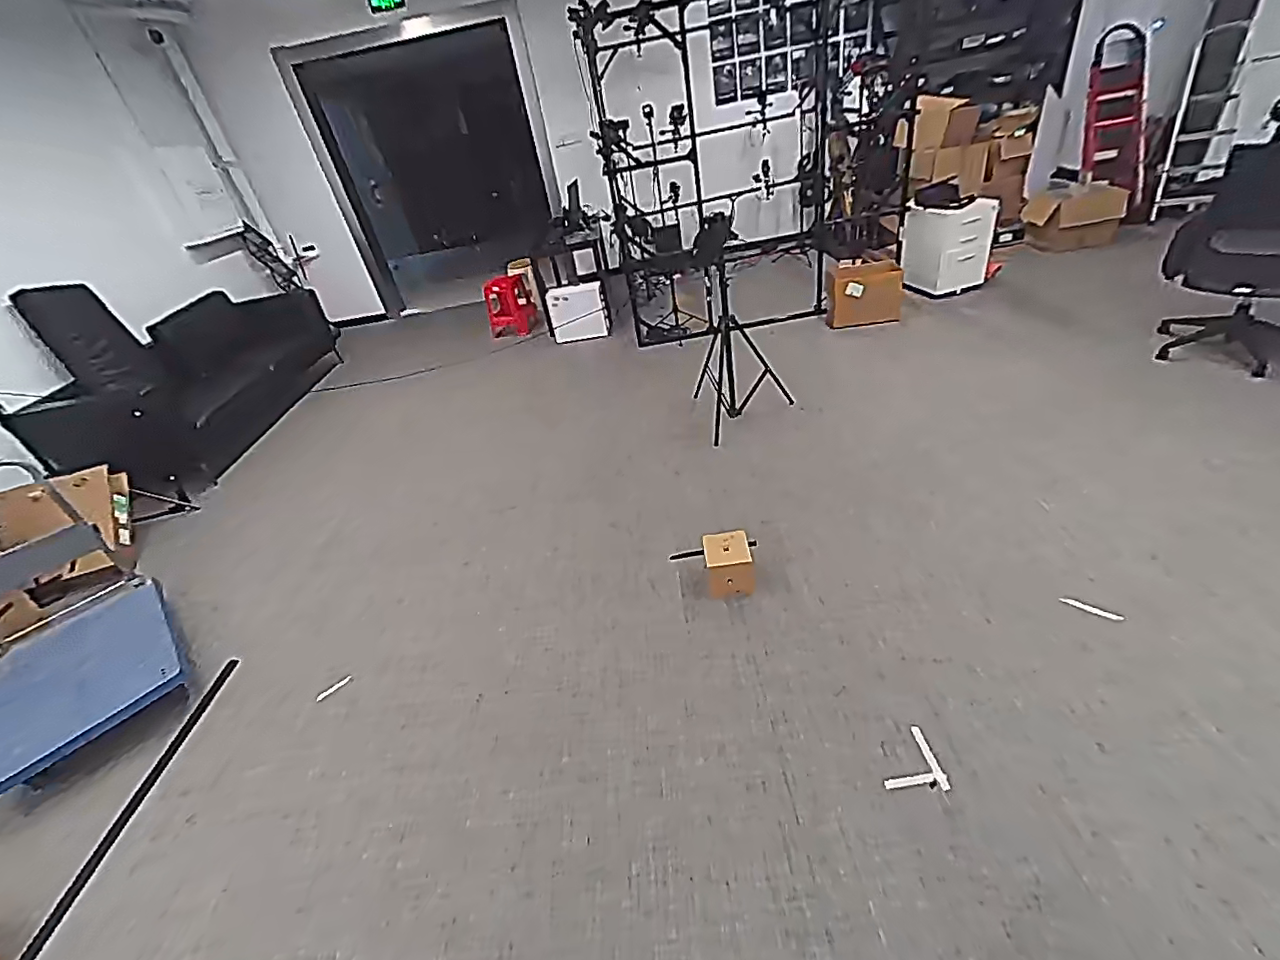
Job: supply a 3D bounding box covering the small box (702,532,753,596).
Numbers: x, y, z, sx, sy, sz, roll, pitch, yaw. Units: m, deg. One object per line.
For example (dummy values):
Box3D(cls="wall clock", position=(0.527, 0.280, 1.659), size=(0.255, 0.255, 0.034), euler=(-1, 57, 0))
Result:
Box3D(cls="small box", position=(0.333, 0.323, 2.050), size=(0.168, 0.176, 0.179), euler=(-8, 34, 5))
